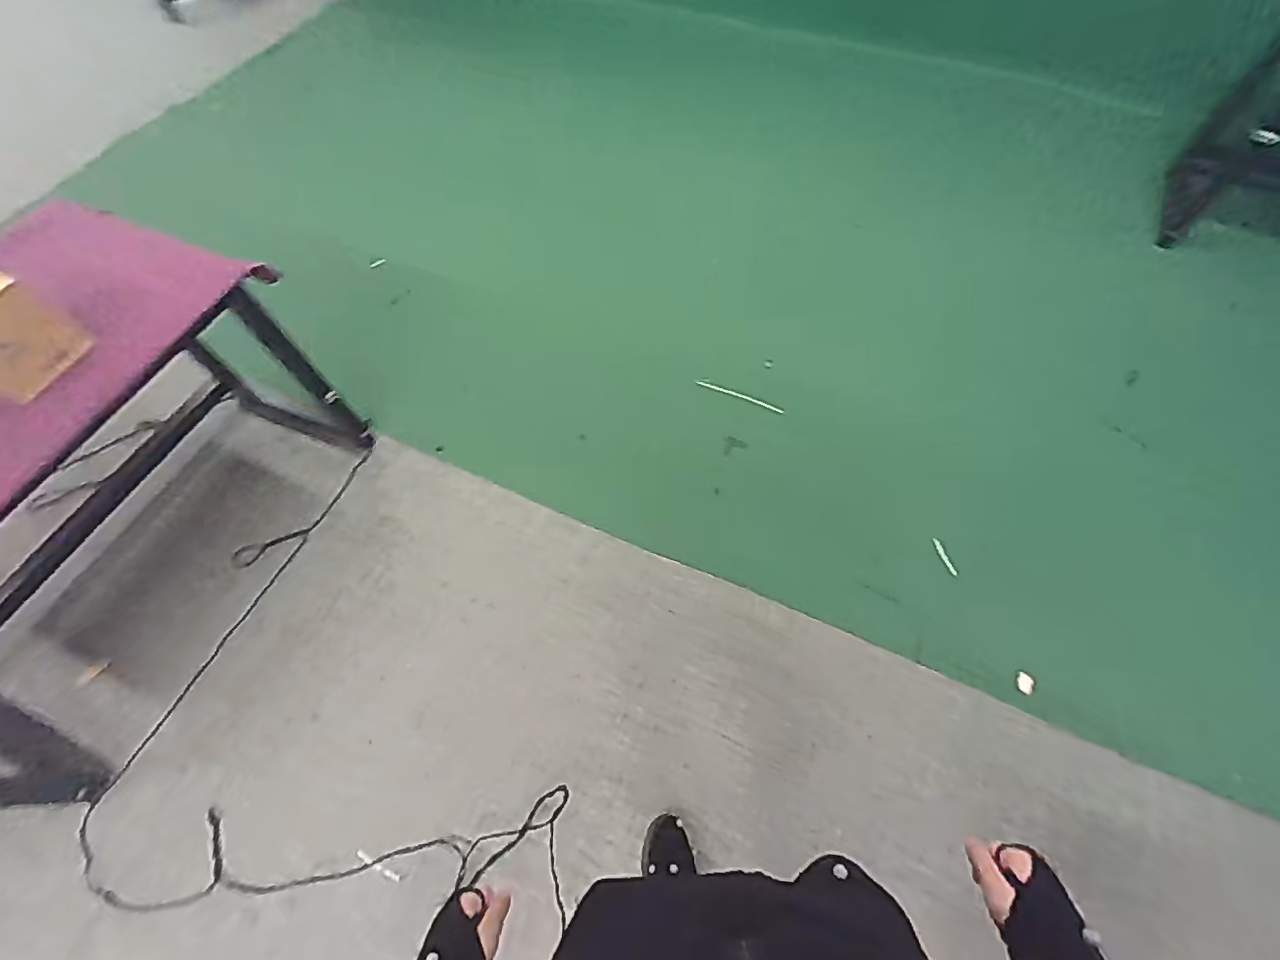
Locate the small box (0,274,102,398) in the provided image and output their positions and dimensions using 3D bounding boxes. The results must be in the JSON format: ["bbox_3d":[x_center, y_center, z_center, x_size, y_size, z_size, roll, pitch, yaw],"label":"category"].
[{"bbox_3d":[-1.218,-0.281,1.038,0.179,0.176,0.168,19,65,13],"label":"small box"}]
